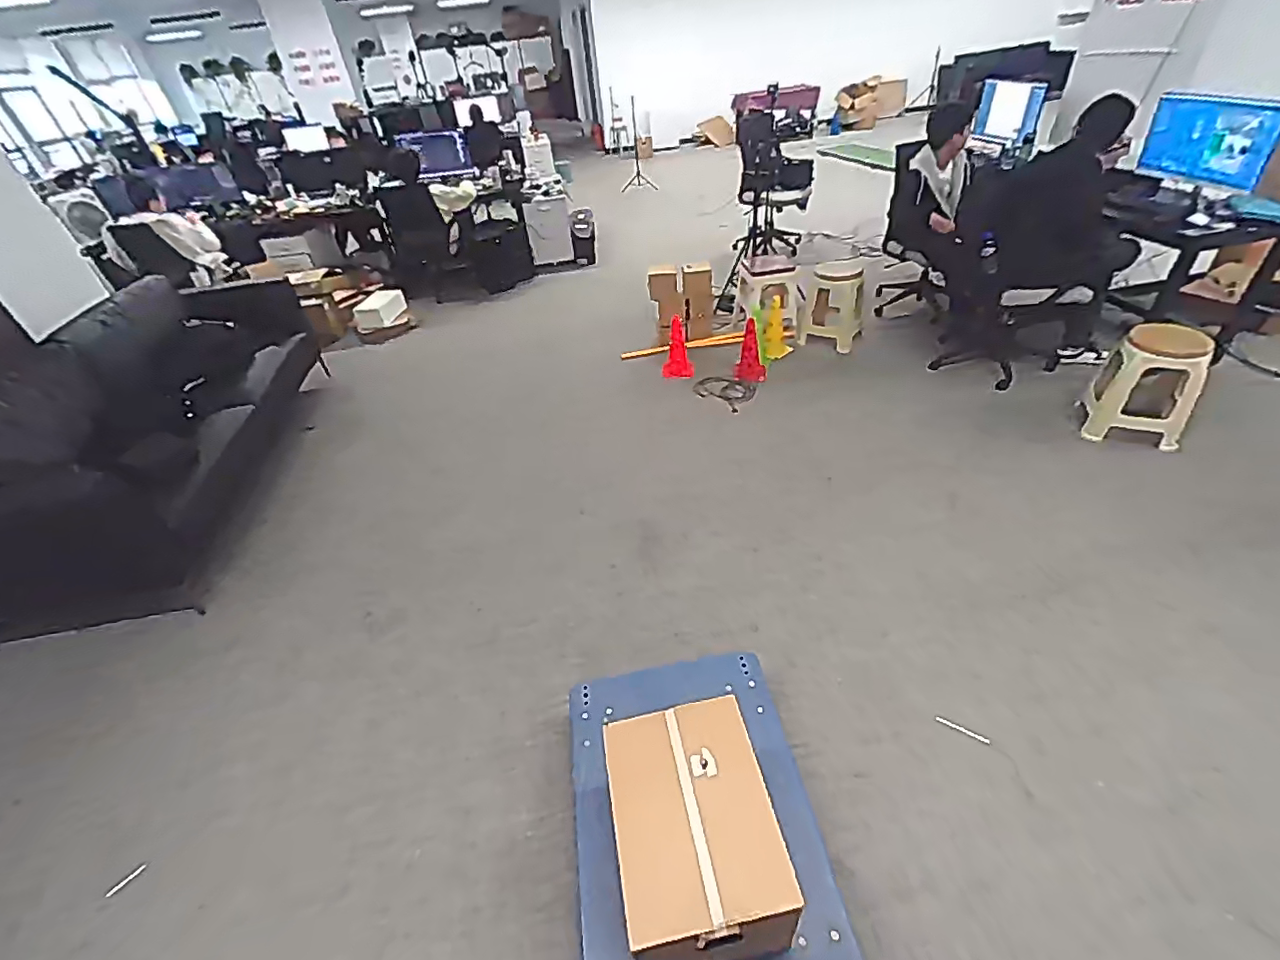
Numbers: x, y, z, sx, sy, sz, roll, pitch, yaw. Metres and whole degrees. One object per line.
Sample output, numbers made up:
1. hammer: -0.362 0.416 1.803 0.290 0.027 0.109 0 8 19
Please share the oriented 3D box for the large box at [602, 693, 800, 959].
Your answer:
1. large box: 0.118 0.760 1.186 0.320 0.320 0.408 -12 40 -4
